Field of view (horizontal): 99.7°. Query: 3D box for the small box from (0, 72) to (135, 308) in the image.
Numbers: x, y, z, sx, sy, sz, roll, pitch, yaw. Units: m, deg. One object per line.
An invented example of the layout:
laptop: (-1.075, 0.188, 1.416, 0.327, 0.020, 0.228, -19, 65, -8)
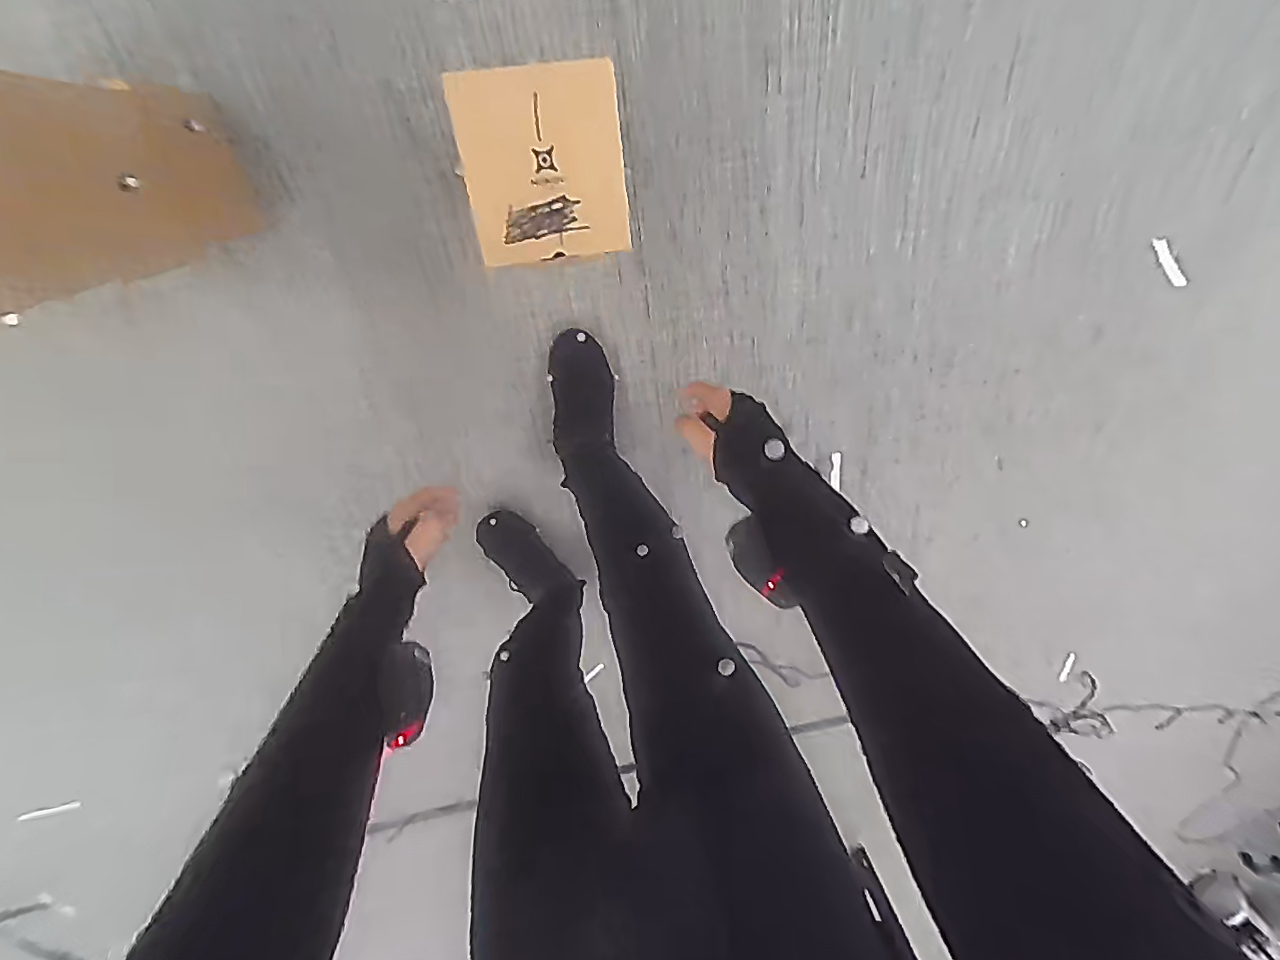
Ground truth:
small box: (-0.581, -0.229, 0.428, 0.168, 0.176, 0.179, -11, 122, -2)

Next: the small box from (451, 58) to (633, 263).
small box: (-0.106, -0.366, 0.630, 0.168, 0.176, 0.179, -10, 121, -6)

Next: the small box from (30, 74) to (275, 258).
small box: (-0.627, -0.398, 0.705, 0.168, 0.176, 0.179, -12, 121, -3)
